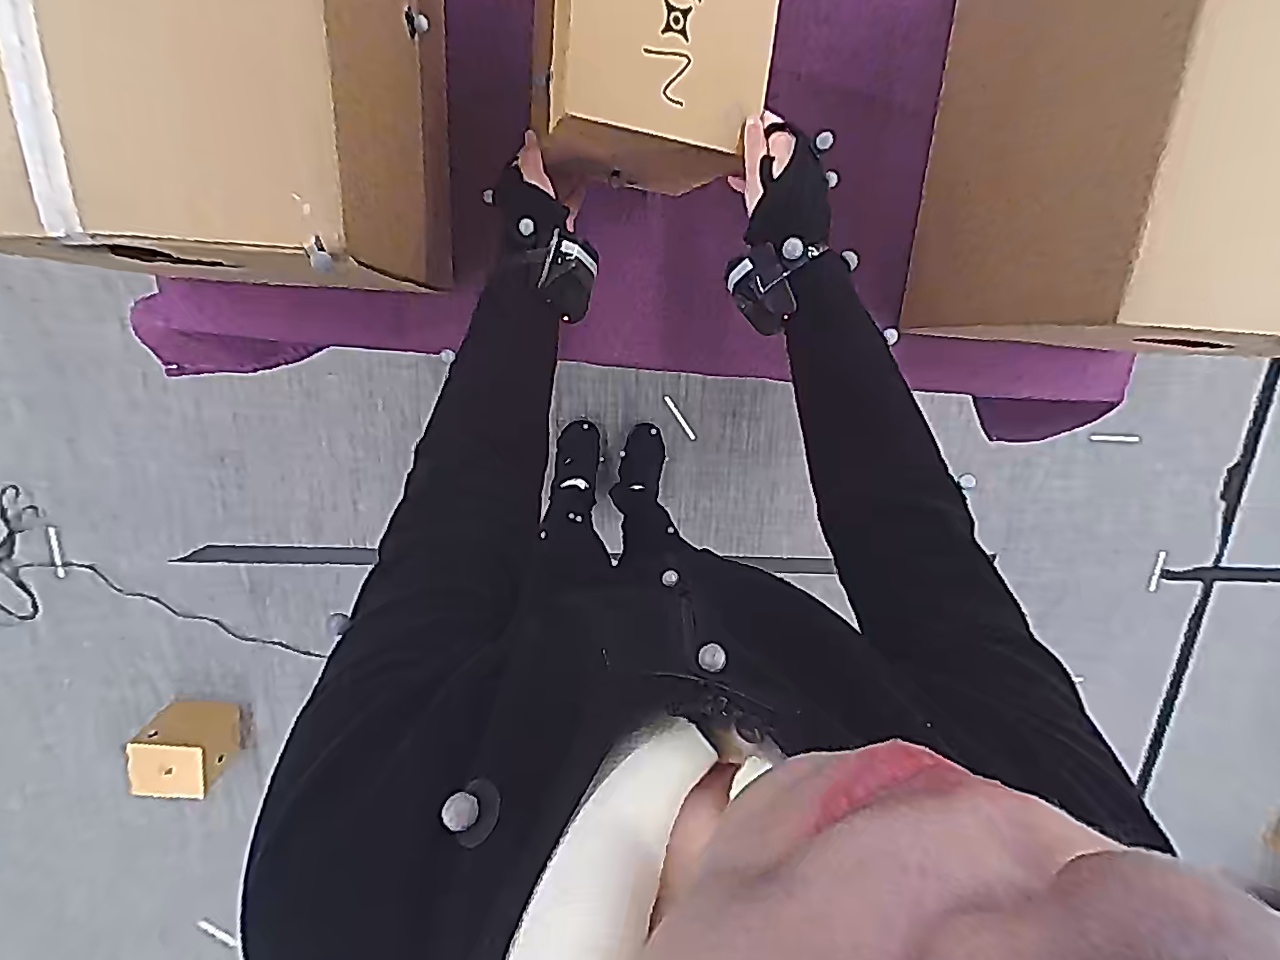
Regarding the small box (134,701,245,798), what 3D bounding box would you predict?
[{"bbox_3d":[-1.211,0.727,1.470,0.179,0.176,0.168,7,105,-7],"label":"small box"}]
